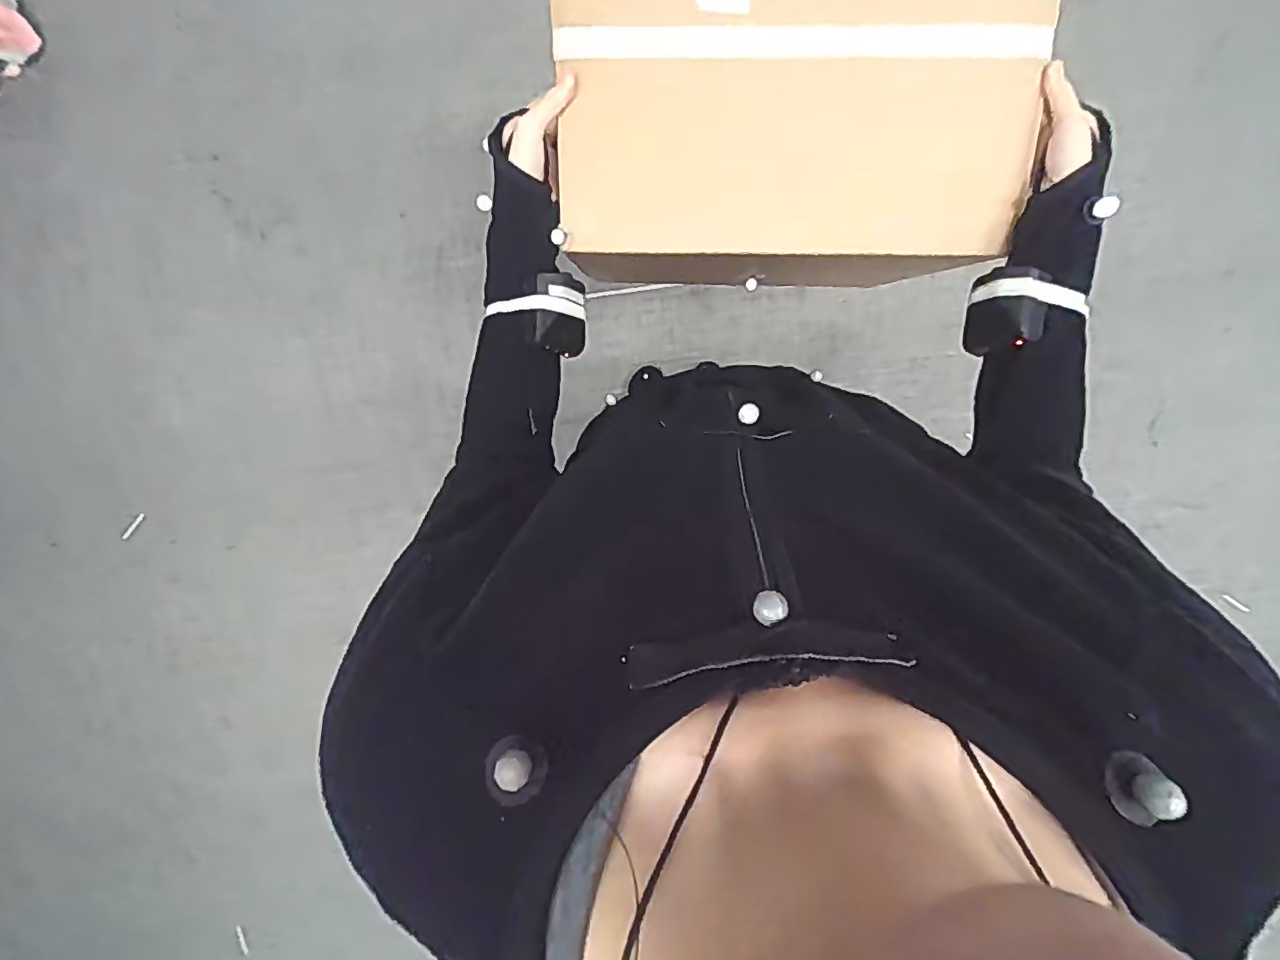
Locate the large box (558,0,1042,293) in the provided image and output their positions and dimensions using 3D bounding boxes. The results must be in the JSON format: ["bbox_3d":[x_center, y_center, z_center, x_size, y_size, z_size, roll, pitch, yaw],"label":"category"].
[{"bbox_3d":[0.137,-0.384,0.603,0.408,0.320,0.320,0,103,2],"label":"large box"}]
